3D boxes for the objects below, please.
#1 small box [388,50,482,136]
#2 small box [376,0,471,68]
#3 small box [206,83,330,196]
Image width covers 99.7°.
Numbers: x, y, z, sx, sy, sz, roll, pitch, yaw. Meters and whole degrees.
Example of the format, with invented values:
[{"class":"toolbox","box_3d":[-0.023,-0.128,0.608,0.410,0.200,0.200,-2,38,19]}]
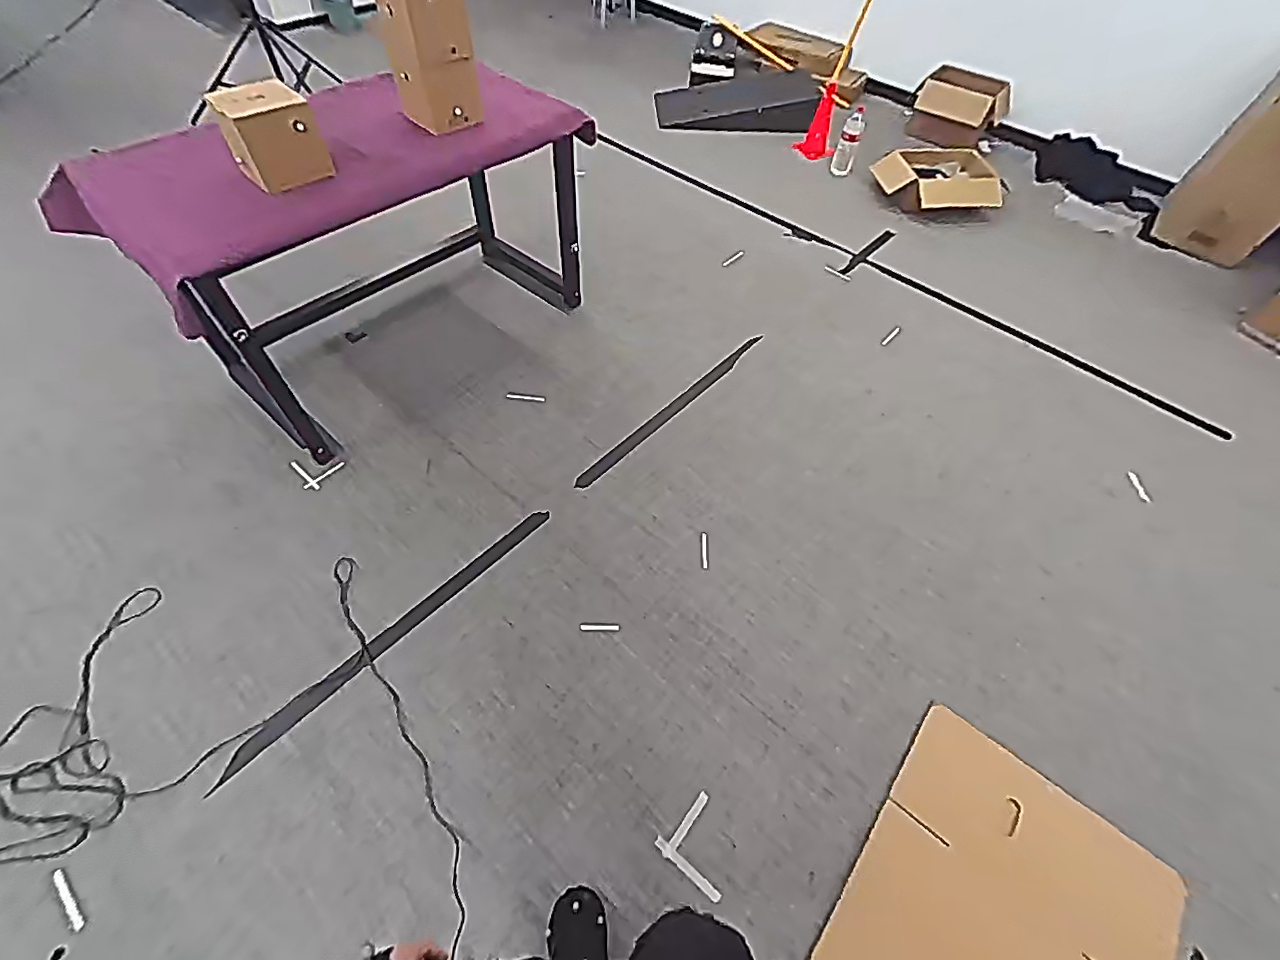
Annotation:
[{"class":"small box","box_3d":[-0.580,-1.116,1.544,0.179,0.176,0.168,40,62,21]},{"class":"small box","box_3d":[-0.568,-1.207,1.408,0.168,0.176,0.179,-37,64,-25]},{"class":"small box","box_3d":[-0.895,-0.833,1.325,0.168,0.176,0.179,40,62,23]}]
